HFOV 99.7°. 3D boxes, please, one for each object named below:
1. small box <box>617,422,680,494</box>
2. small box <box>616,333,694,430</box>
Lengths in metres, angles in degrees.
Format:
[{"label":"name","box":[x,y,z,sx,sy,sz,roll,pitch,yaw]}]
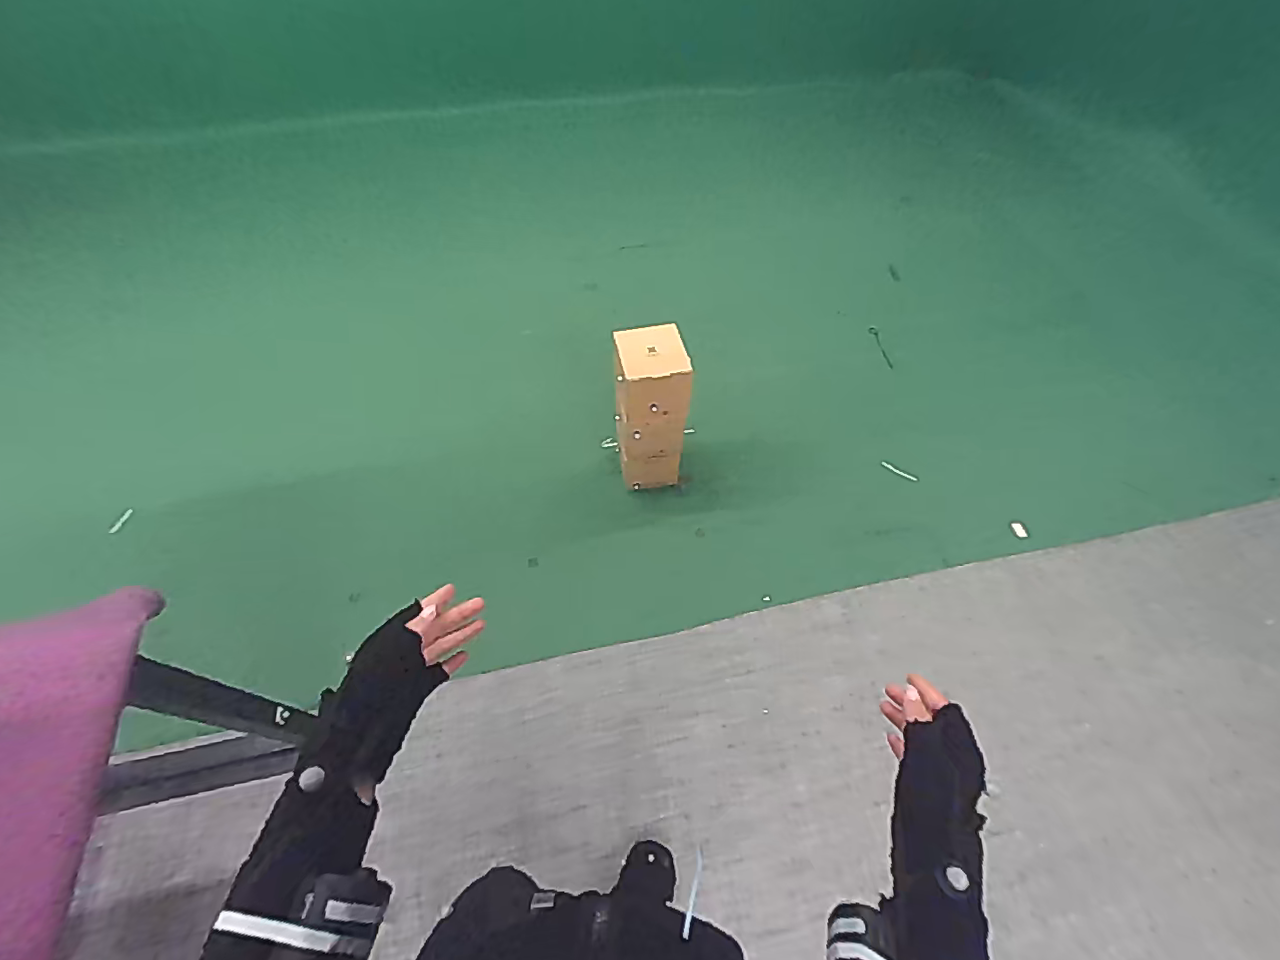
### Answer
[{"label":"small box","box":[0.025,-0.071,1.681,0.168,0.176,0.179,-8,56,-6]},{"label":"small box","box":[0.031,-0.255,1.410,0.168,0.176,0.179,-10,57,-8]}]
